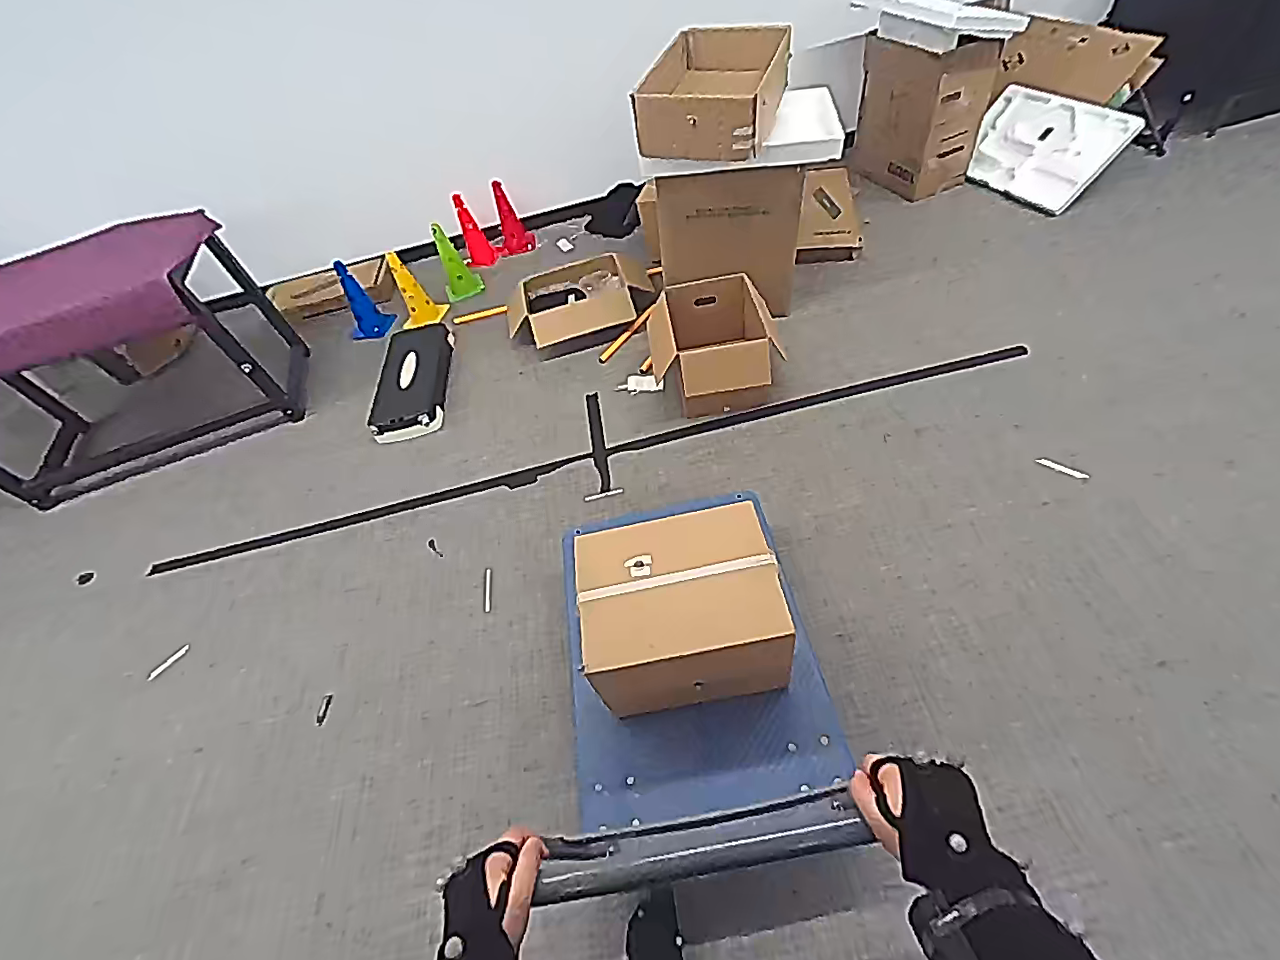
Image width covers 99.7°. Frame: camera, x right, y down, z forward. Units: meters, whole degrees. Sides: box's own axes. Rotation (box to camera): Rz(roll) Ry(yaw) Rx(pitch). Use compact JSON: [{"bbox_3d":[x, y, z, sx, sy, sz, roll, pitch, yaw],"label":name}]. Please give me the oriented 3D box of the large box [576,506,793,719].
[{"bbox_3d":[0.100,0.308,1.225,0.408,0.320,0.320,-13,50,3],"label":"large box"}]
